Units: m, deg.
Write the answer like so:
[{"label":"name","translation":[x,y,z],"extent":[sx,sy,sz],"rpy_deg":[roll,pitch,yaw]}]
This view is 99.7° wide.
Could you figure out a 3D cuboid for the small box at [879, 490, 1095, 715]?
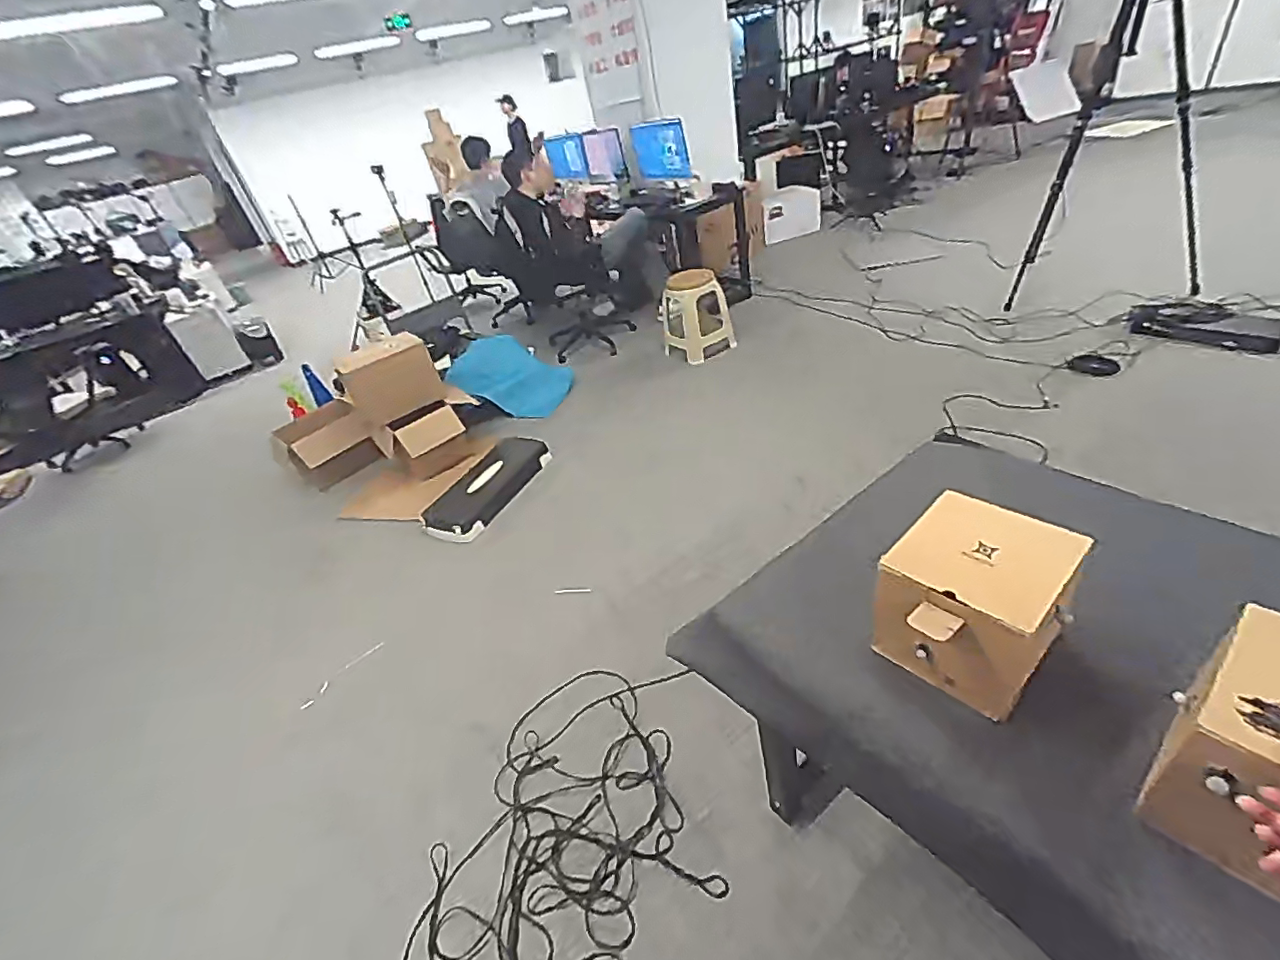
[{"label":"small box","translation":[0.420,0.148,0.679],"extent":[0.179,0.176,0.168],"rpy_deg":[-35,41,-26]}]
